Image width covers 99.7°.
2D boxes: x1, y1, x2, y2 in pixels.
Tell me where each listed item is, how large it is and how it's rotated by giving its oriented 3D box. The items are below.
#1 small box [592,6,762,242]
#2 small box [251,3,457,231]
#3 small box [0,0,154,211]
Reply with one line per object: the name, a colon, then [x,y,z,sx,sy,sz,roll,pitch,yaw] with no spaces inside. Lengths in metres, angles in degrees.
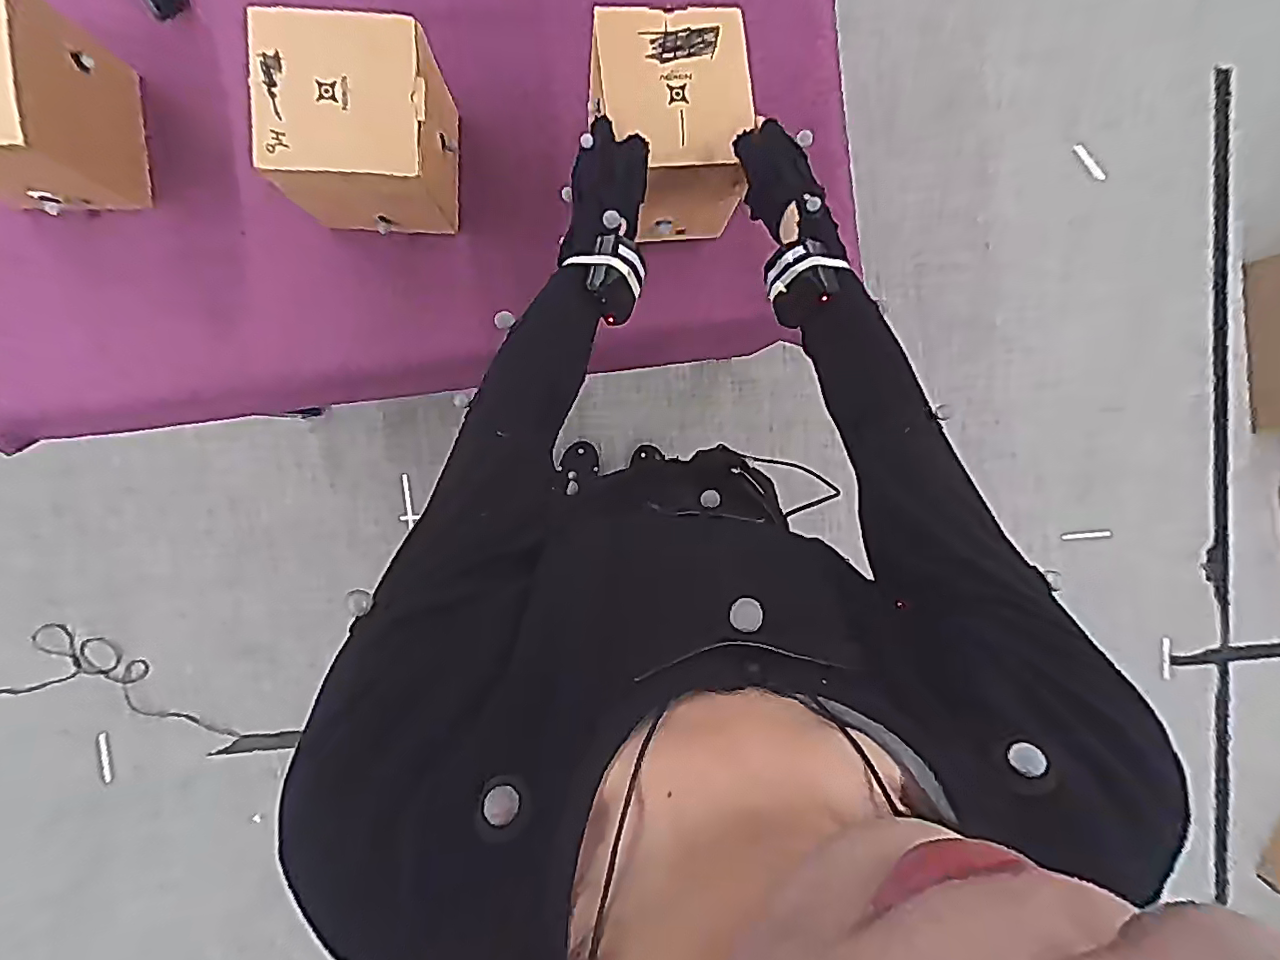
small box: [0.033,-0.415,0.655,0.168,0.176,0.179,-6,88,-7]
small box: [-0.326,-0.416,0.653,0.179,0.176,0.168,1,94,-5]
small box: [-0.716,-0.434,0.621,0.168,0.176,0.179,-3,95,-3]
